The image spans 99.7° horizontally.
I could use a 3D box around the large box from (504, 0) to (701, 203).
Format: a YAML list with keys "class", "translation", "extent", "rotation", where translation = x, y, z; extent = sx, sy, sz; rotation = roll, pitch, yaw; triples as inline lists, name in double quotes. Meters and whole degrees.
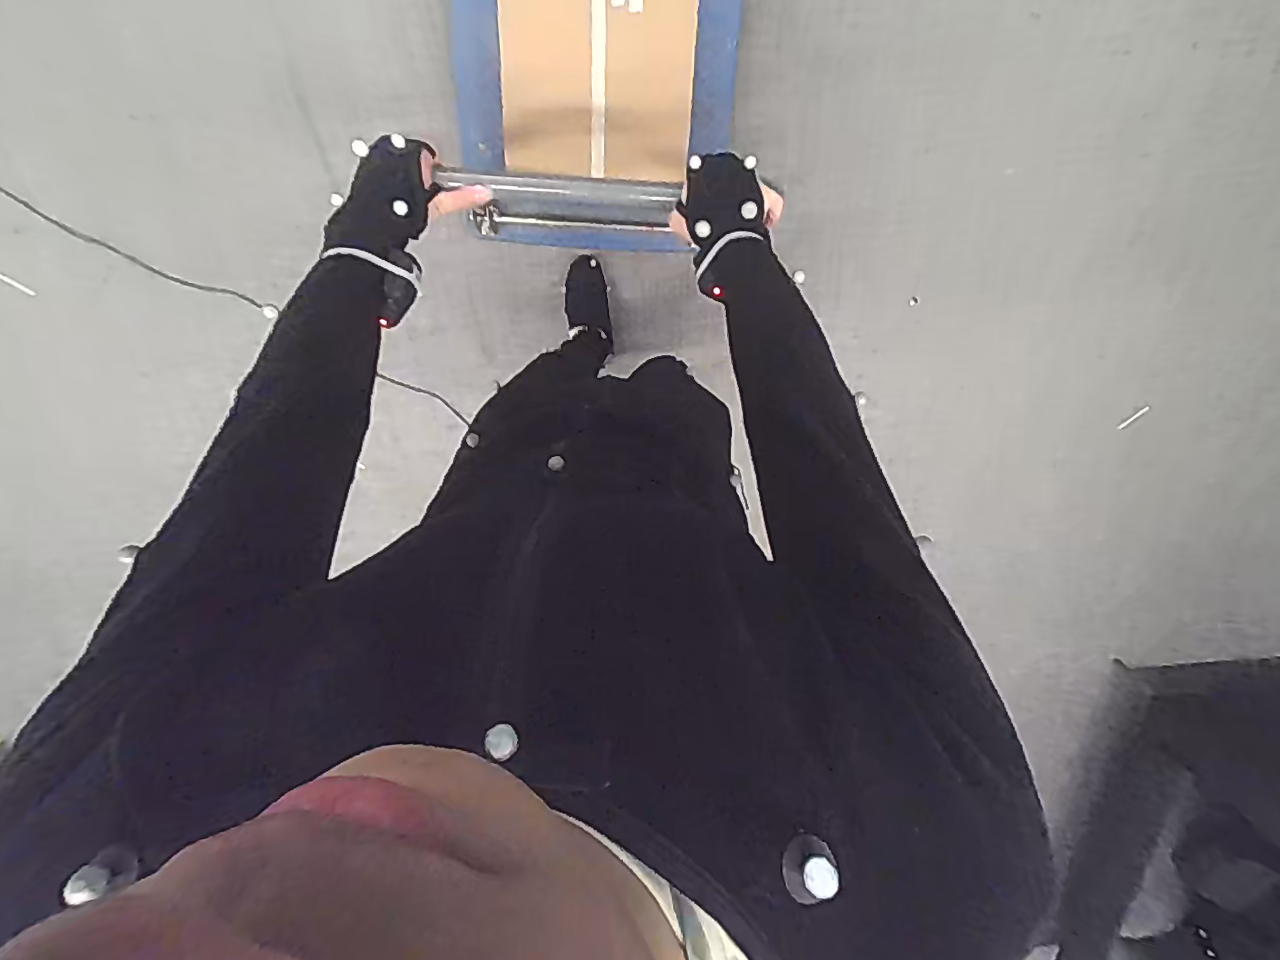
- class: "large box"
  translation: [-0.063, -0.752, 1.001]
  extent: [0.320, 0.320, 0.408]
  rotation: [2, 112, -3]
